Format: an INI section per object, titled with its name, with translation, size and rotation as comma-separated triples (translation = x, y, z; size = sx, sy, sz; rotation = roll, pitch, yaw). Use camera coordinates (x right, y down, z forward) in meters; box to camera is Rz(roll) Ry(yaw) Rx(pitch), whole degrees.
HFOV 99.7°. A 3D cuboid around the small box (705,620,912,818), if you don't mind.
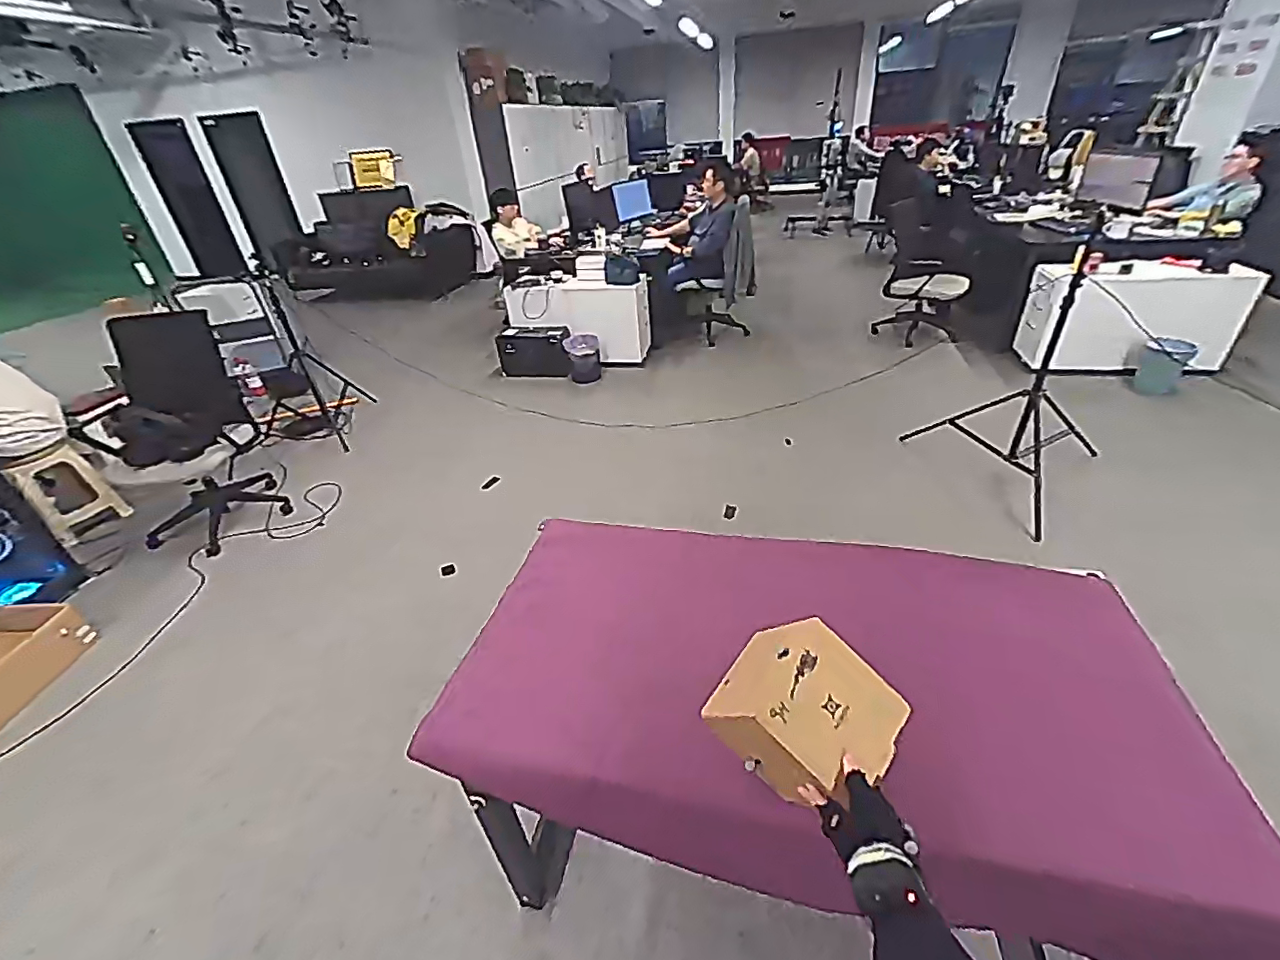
[small box]
translation = 0.225, 0.321, 0.752
size = 0.179, 0.176, 0.168
rotation = 44, 62, 3
